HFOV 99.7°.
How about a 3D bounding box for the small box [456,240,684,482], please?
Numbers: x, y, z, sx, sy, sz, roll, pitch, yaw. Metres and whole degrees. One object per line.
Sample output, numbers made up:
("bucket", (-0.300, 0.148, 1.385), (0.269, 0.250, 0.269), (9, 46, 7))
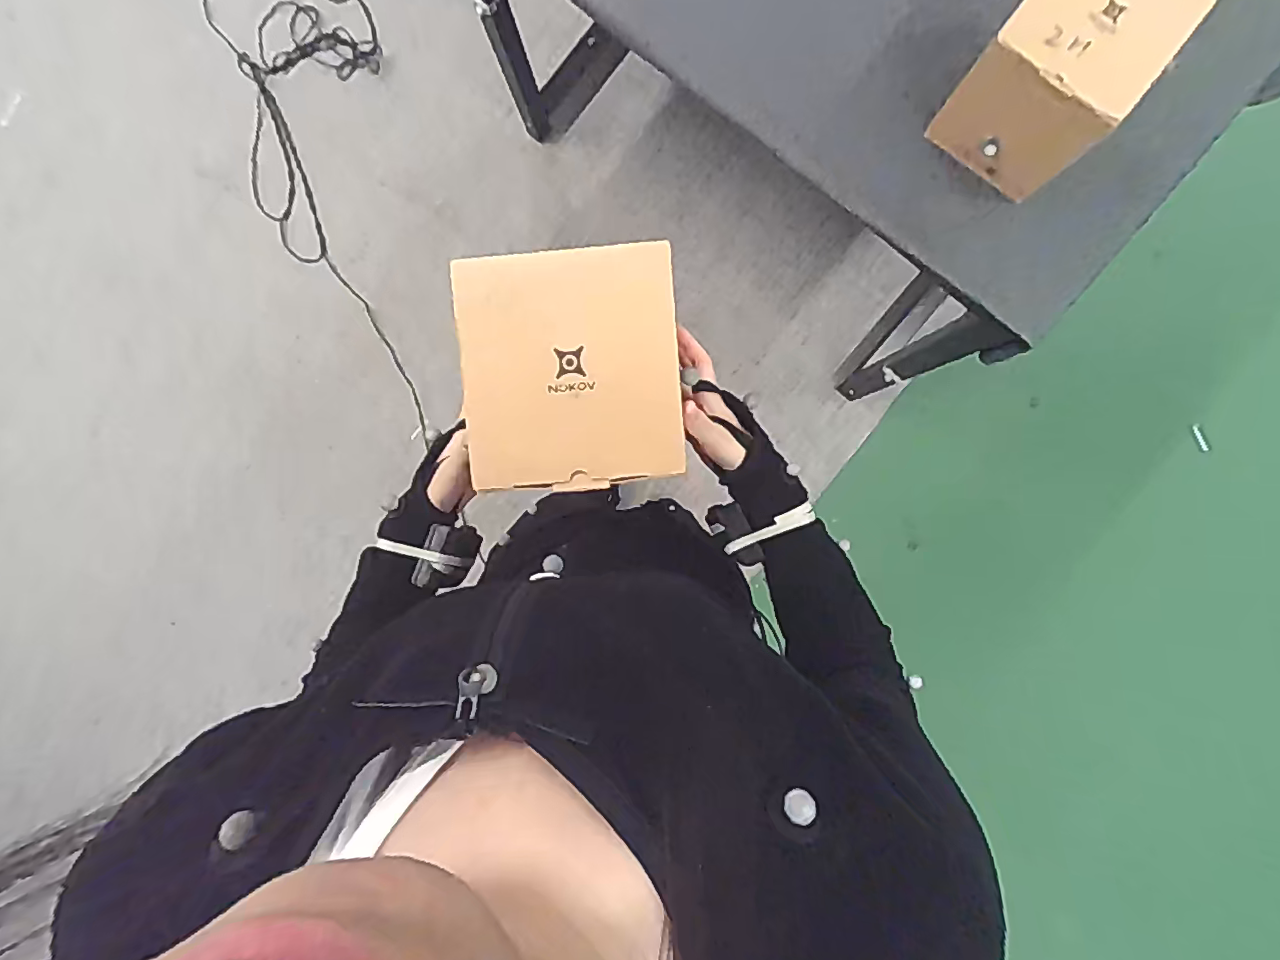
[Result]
("small box", (-0.052, -0.095, 0.494), (0.168, 0.176, 0.179), (-5, 94, 2))

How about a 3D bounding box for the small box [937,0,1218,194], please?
("small box", (0.508, -0.501, 0.658), (0.168, 0.176, 0.179), (38, 92, 3))
